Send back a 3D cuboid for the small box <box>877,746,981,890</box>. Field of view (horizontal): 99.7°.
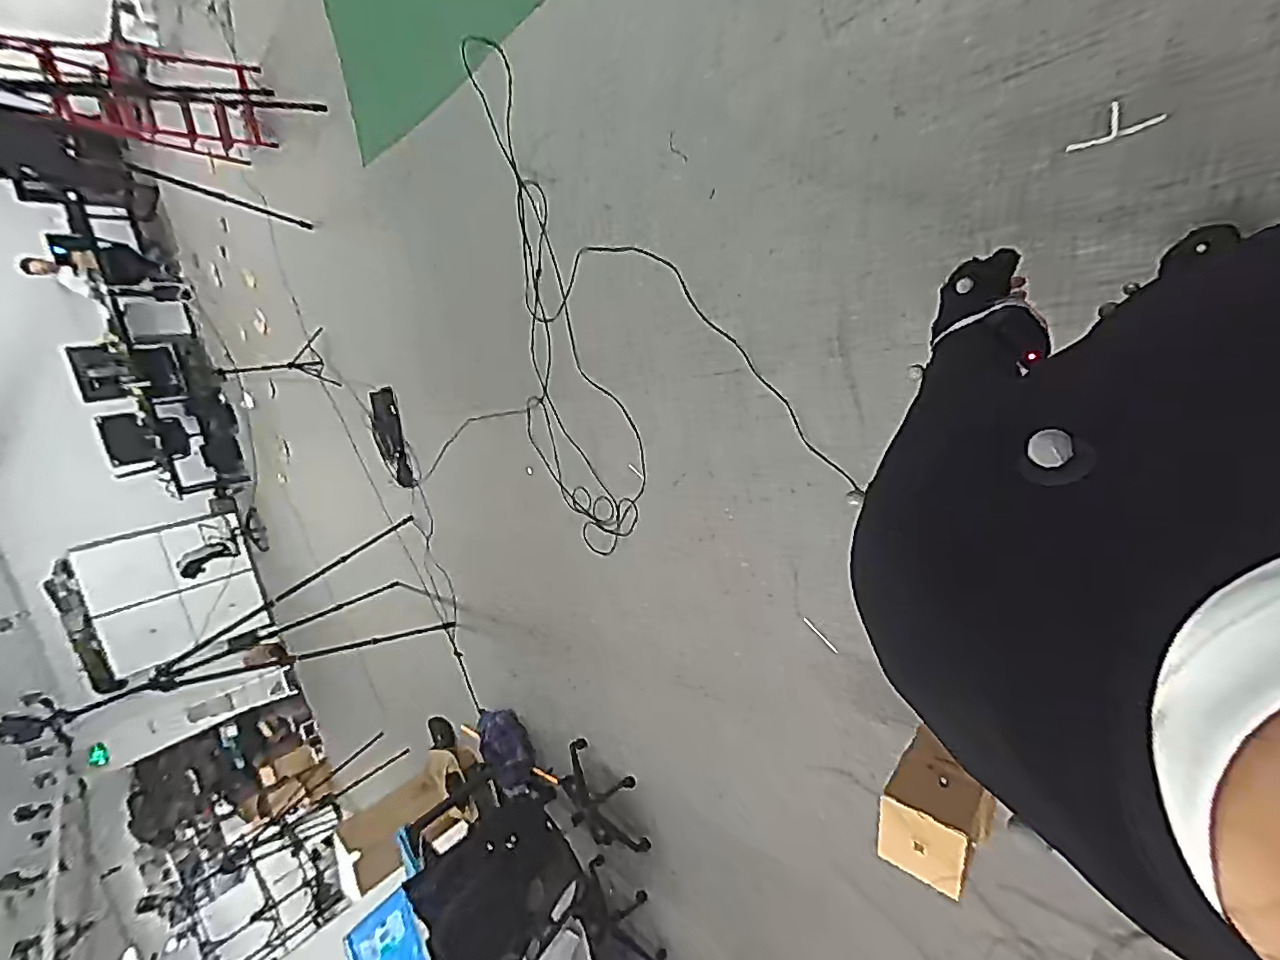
[{"bbox_3d":[0.651,0.747,1.216,0.168,0.176,0.179,10,111,41],"label":"small box"}]

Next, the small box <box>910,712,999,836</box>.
[{"bbox_3d":[0.766,0.707,1.324,0.168,0.176,0.179,4,109,43],"label":"small box"}]
